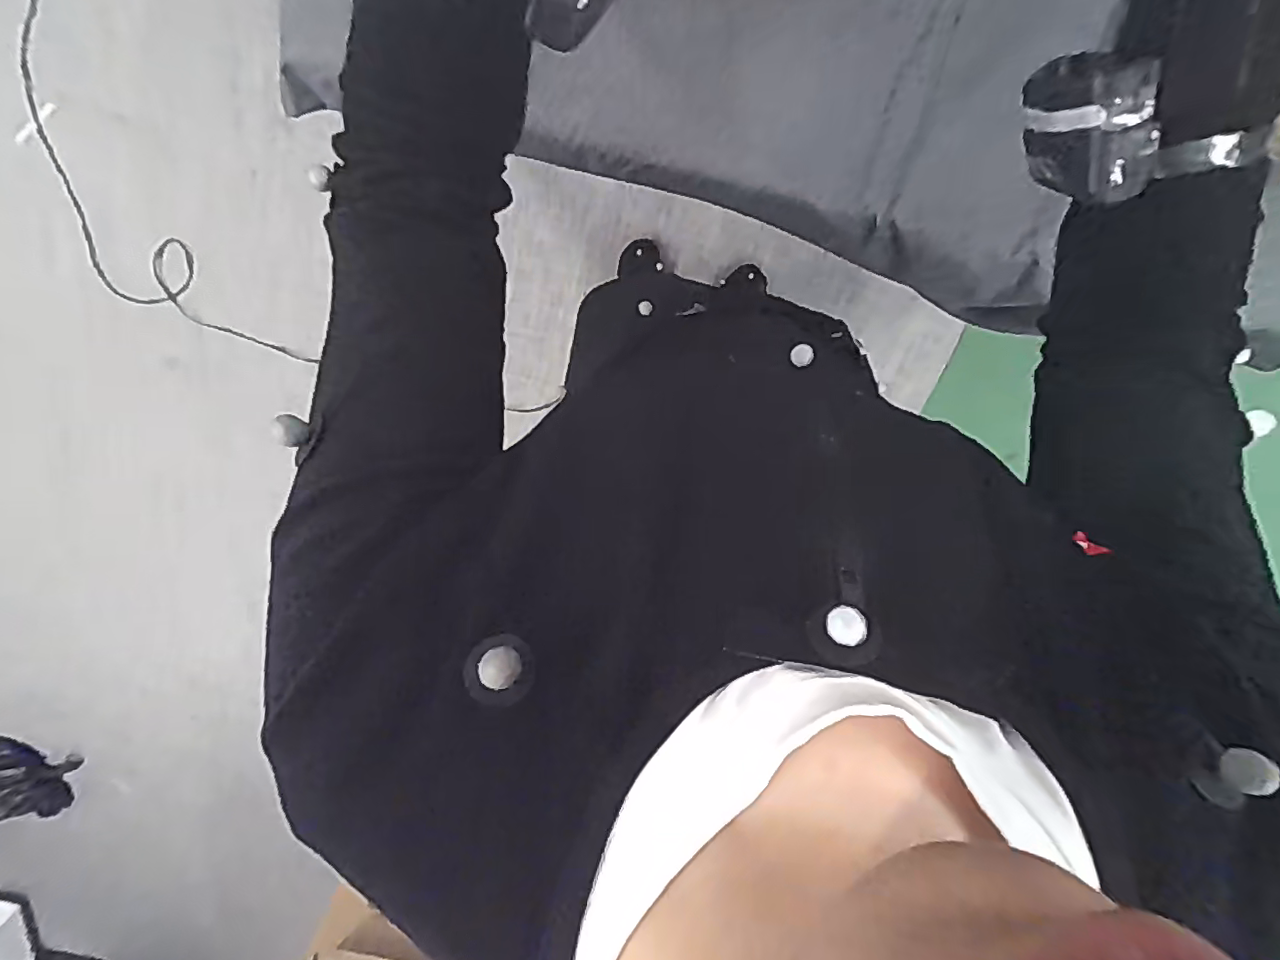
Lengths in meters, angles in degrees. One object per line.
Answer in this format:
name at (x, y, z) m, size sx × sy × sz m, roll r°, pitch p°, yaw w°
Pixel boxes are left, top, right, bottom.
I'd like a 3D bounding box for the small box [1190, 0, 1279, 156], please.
small box at (0.637, -0.383, 0.450) m, size 0.168 × 0.176 × 0.179 m, roll 14°, pitch 115°, yaw -4°
